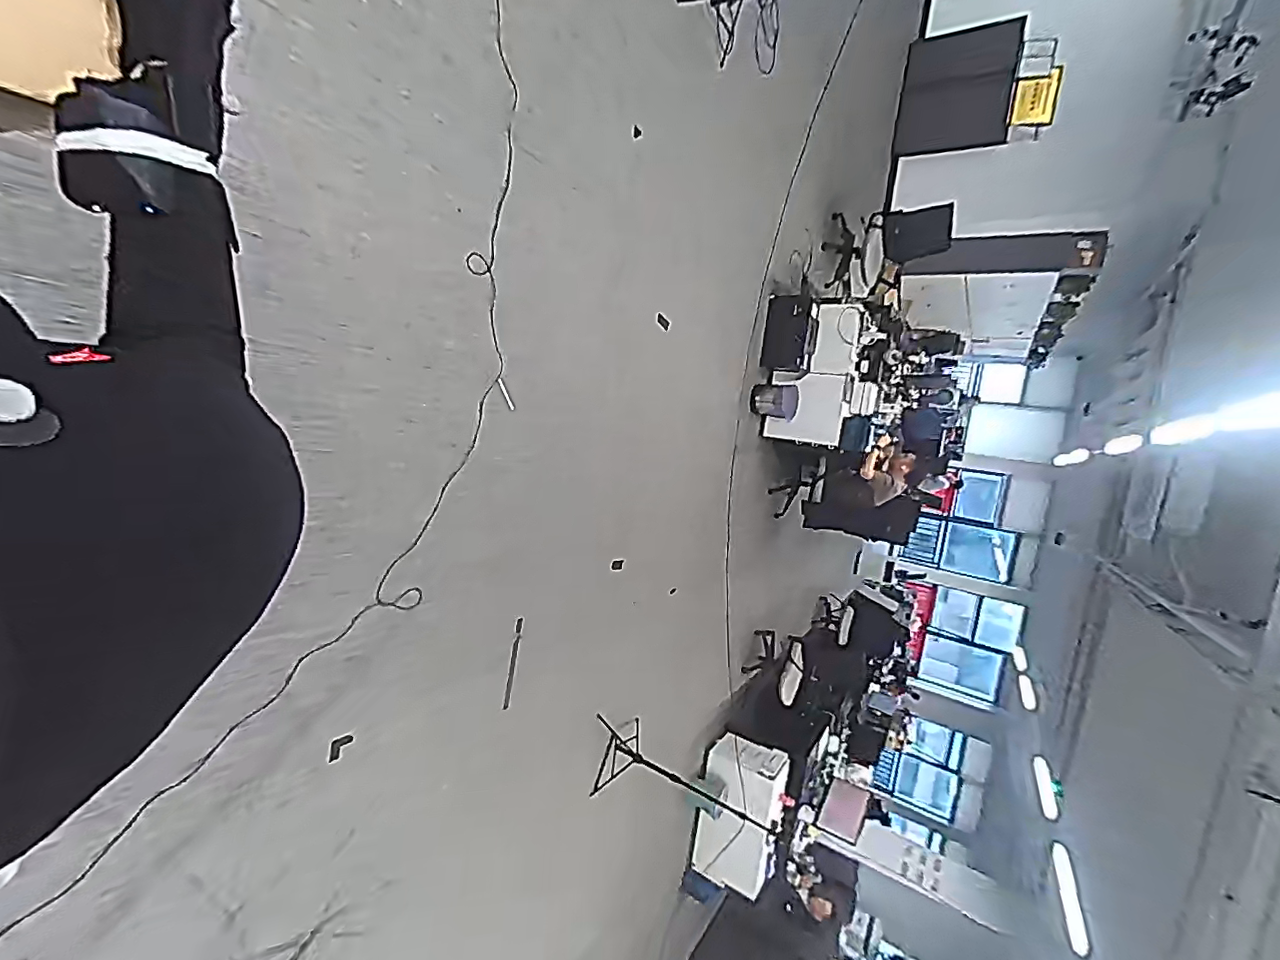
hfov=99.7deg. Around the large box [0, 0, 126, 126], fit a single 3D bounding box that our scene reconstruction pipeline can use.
[{"bbox_3d":[-0.562,-0.410,0.242,0.408,0.320,0.320,-14,120,-58],"label":"large box"}]
